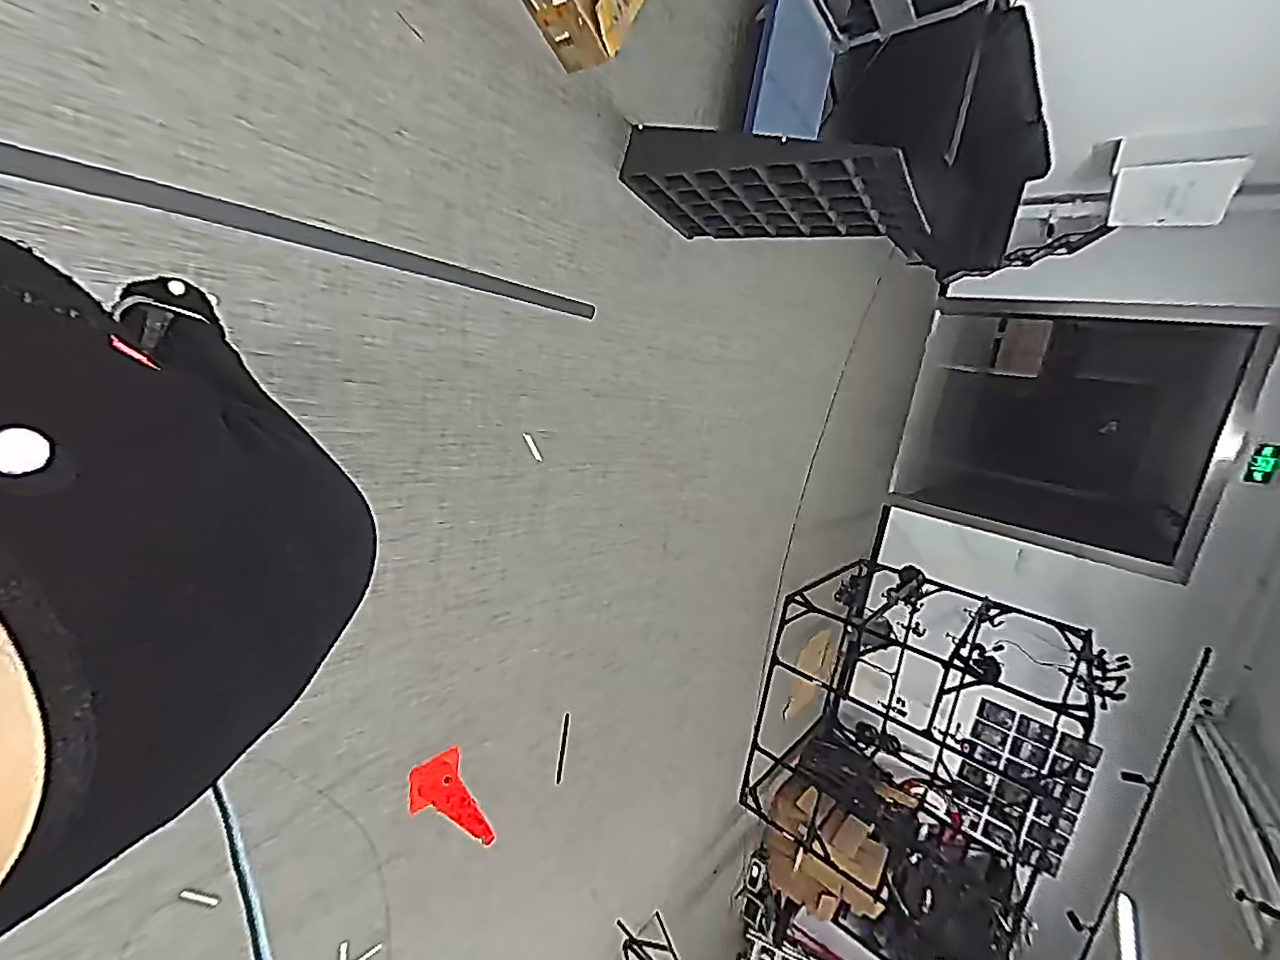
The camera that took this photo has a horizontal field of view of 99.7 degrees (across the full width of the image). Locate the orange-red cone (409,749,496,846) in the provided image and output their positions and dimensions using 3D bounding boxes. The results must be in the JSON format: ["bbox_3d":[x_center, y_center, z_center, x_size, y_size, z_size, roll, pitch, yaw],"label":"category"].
[{"bbox_3d":[-0.631,1.157,1.897,0.198,0.360,0.199,-11,111,-50],"label":"orange-red cone"}]
